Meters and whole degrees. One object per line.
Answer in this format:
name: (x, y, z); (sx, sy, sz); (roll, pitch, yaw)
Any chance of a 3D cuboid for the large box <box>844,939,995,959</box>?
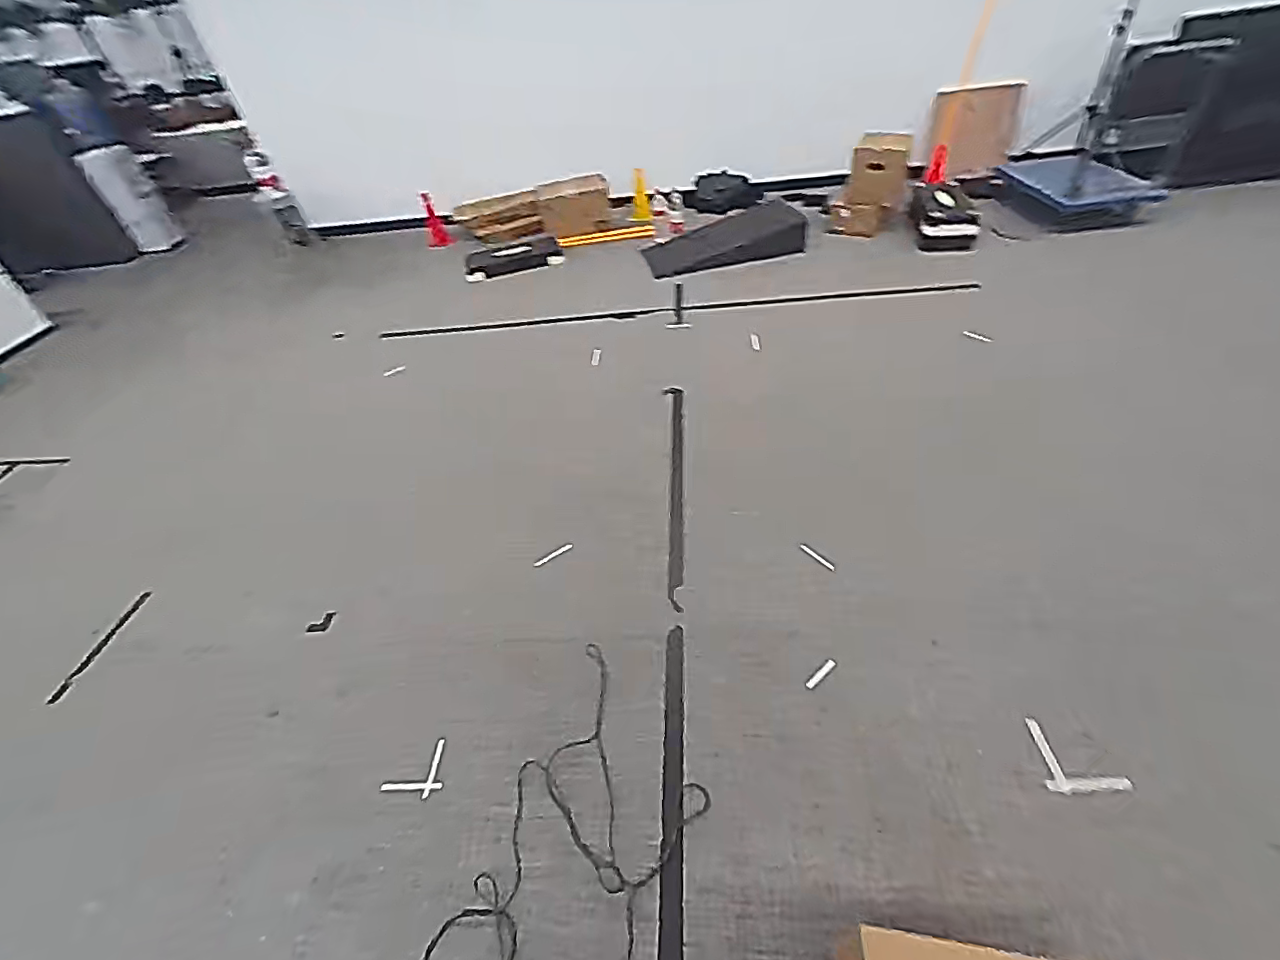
large box: (0.521, 0.921, 0.782); (0.408, 0.320, 0.320); (3, 44, 10)
